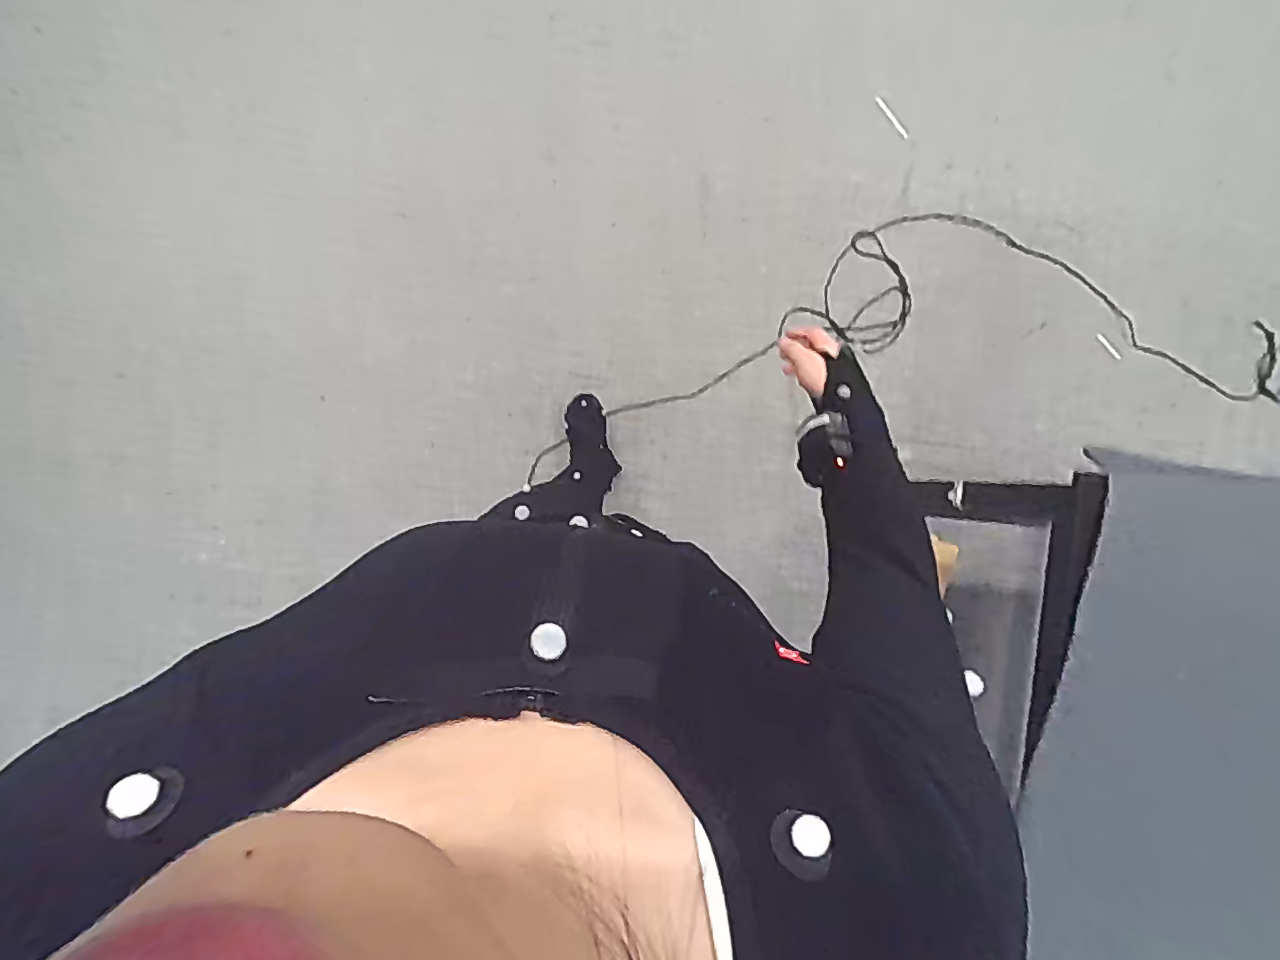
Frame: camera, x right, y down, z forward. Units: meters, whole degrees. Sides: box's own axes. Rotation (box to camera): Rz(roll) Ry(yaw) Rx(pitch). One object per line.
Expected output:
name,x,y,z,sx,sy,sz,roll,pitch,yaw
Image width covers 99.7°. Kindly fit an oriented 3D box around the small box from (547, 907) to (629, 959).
small box,-0.133,1.282,1.409,0.168,0.176,0.179,-29,91,-2
